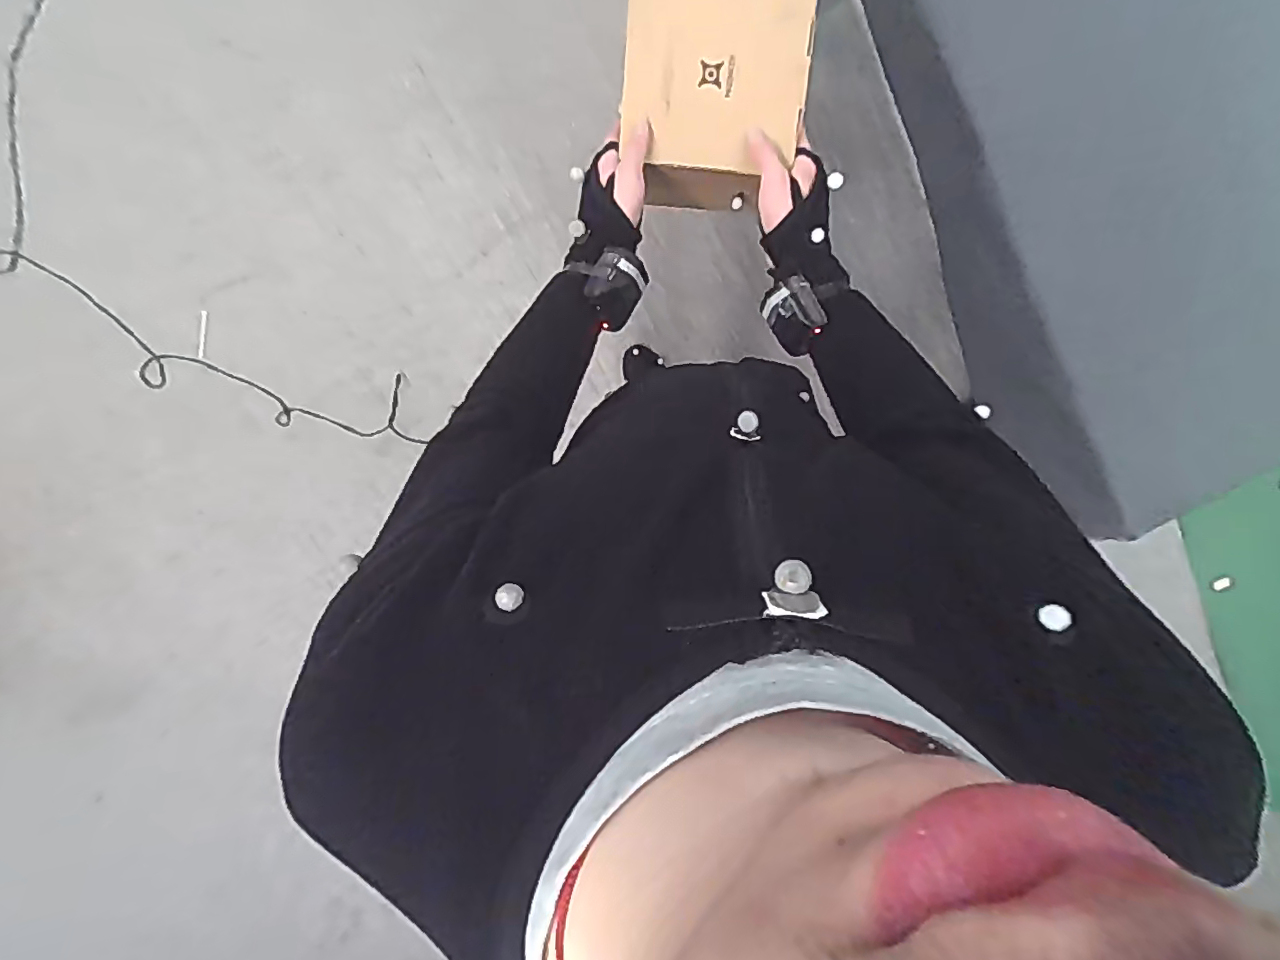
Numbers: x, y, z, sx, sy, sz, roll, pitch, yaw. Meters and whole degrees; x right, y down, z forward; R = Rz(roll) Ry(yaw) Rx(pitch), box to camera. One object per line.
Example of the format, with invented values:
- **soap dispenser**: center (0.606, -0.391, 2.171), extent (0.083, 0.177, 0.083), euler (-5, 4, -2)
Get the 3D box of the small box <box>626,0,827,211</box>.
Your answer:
- **small box**: center (0.078, -0.397, 0.572), extent (0.179, 0.176, 0.168), euler (3, 102, 1)
